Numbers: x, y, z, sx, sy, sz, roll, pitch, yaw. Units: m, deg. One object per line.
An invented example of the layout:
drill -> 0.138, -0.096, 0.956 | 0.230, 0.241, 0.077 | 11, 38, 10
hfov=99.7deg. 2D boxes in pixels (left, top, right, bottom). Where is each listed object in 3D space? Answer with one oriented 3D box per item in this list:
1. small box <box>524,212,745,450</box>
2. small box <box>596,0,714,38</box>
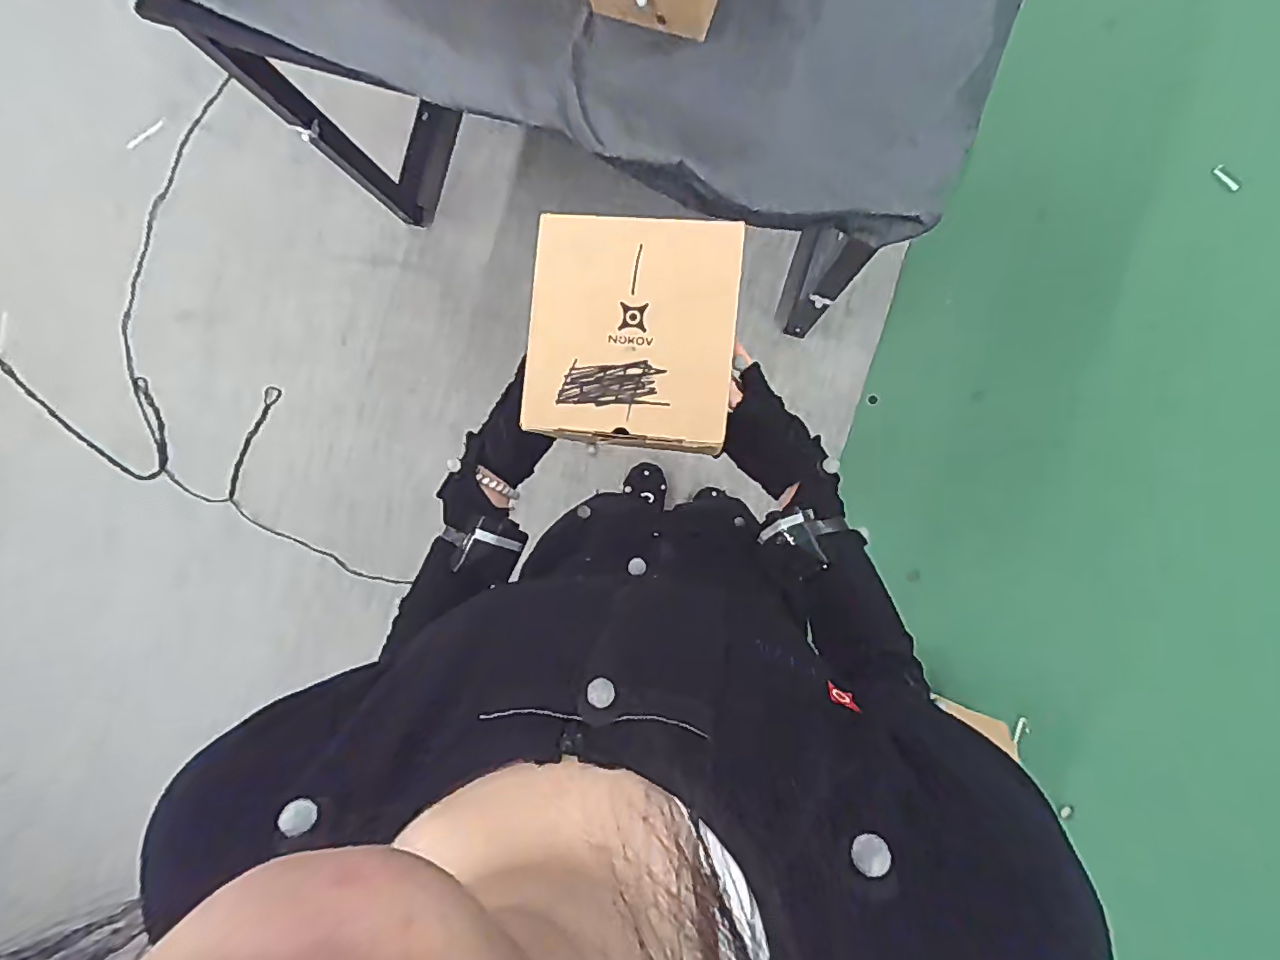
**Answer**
small box -> 0.002, -0.123, 0.508 | 0.168, 0.176, 0.179 | 6, 91, 6
small box -> 0.029, -0.709, 0.663 | 0.168, 0.176, 0.179 | 19, 93, 4
